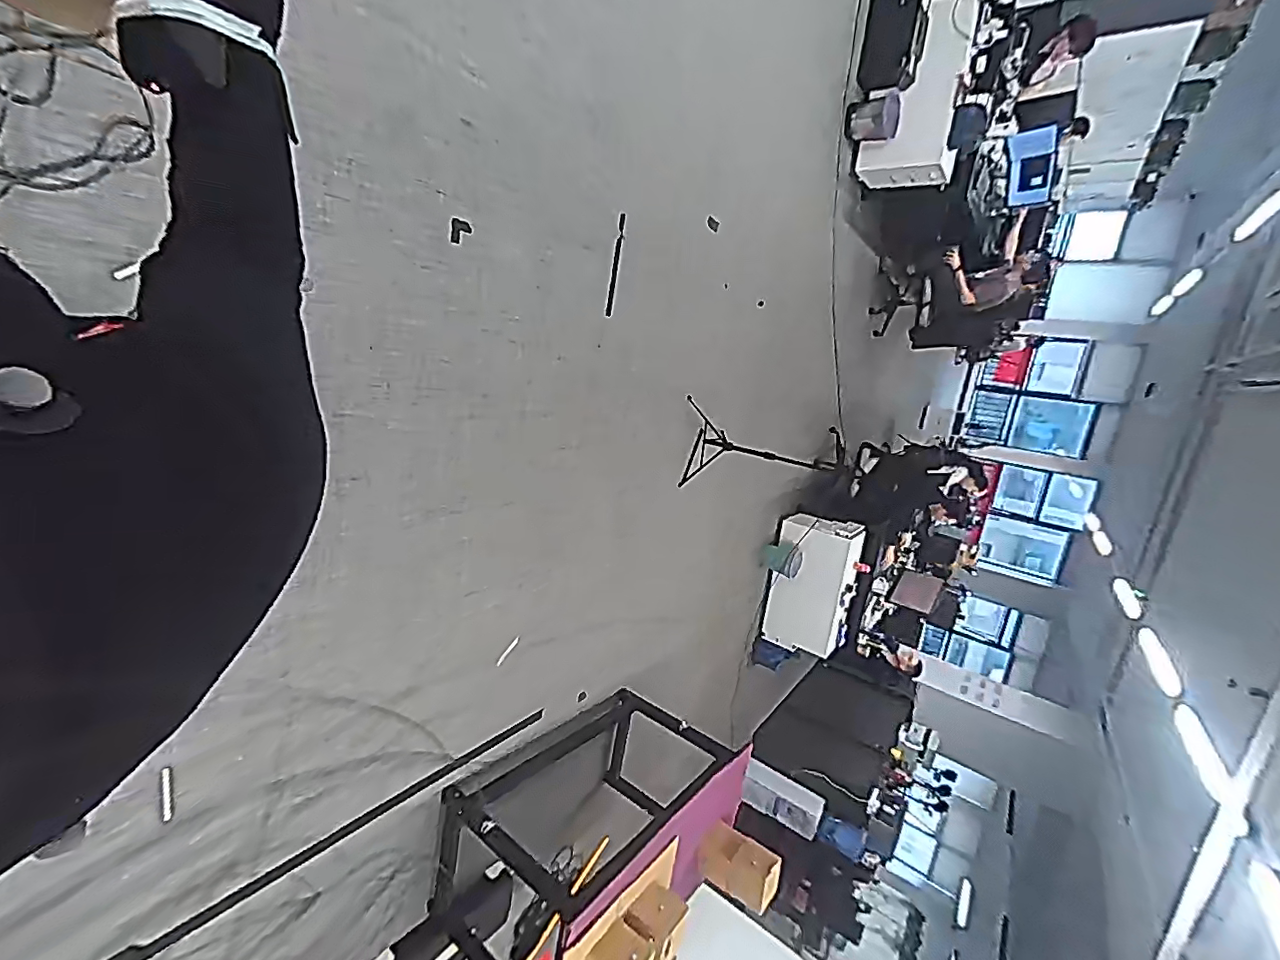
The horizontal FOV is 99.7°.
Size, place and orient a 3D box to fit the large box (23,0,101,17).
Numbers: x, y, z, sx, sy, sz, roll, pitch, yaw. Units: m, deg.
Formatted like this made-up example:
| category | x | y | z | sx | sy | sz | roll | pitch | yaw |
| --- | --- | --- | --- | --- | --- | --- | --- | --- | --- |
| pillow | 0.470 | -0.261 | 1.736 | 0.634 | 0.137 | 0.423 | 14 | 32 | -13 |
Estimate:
| category | x | y | z | sx | sy | sz | roll | pitch | yaw |
| --- | --- | --- | --- | --- | --- | --- | --- | --- | --- |
| large box | -0.515 | -0.515 | 0.243 | 0.408 | 0.320 | 0.320 | -8 | 117 | -54 |
